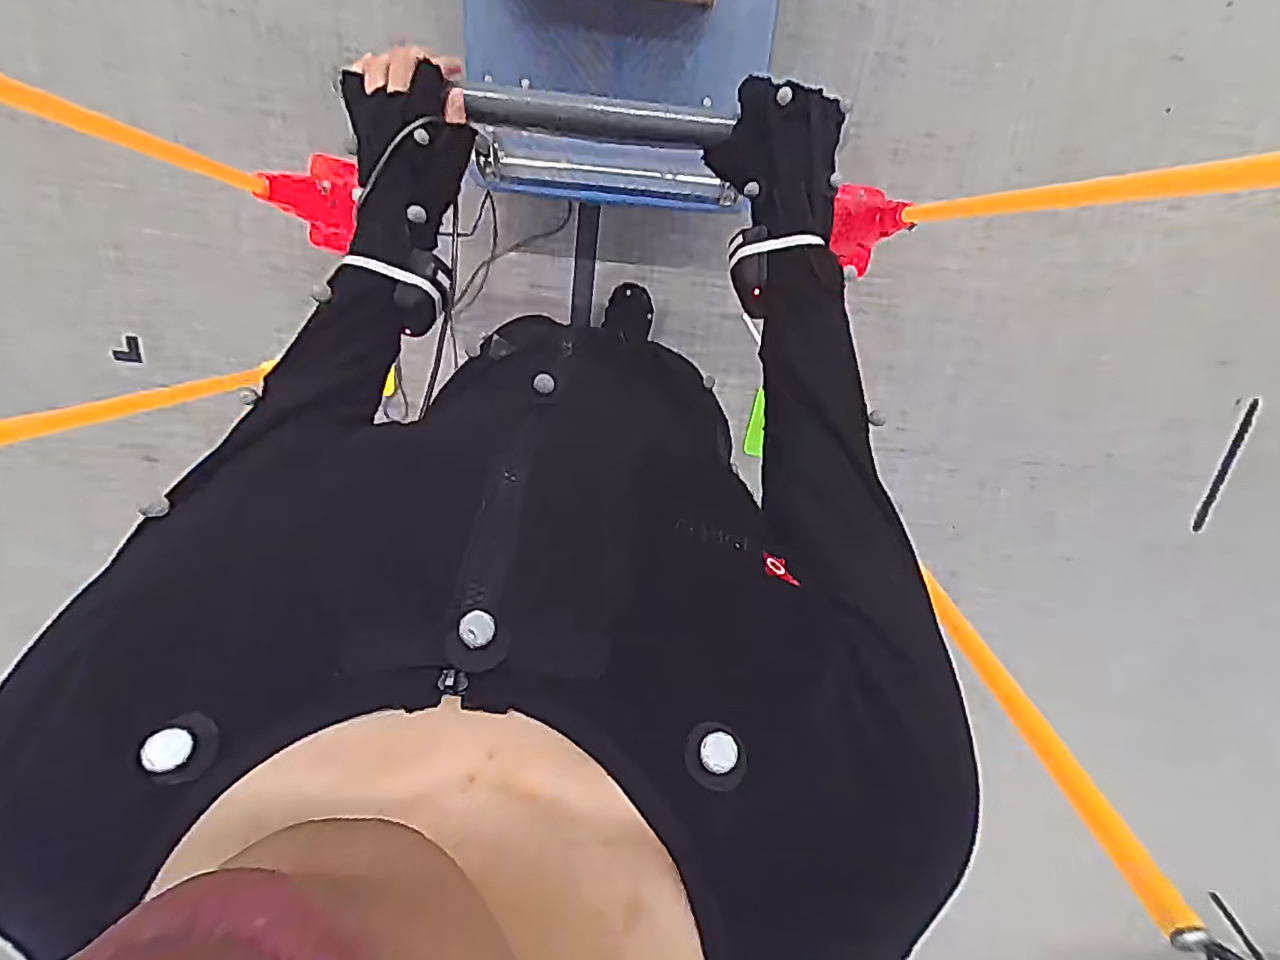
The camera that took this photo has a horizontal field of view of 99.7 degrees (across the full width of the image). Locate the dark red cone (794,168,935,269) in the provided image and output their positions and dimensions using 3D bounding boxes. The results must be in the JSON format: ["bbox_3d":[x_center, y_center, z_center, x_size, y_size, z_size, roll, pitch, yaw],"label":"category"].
[{"bbox_3d":[0.476,-0.550,1.107,0.201,0.394,0.202,5,111,-5],"label":"dark red cone"}]

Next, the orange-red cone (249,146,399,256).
[{"bbox_3d":[-0.658,-0.584,1.088,0.198,0.360,0.199,12,108,-7],"label":"orange-red cone"}]

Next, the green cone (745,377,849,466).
[{"bbox_3d":[0.401,-0.106,1.289,0.202,0.368,0.200,9,110,-6],"label":"green cone"}]
